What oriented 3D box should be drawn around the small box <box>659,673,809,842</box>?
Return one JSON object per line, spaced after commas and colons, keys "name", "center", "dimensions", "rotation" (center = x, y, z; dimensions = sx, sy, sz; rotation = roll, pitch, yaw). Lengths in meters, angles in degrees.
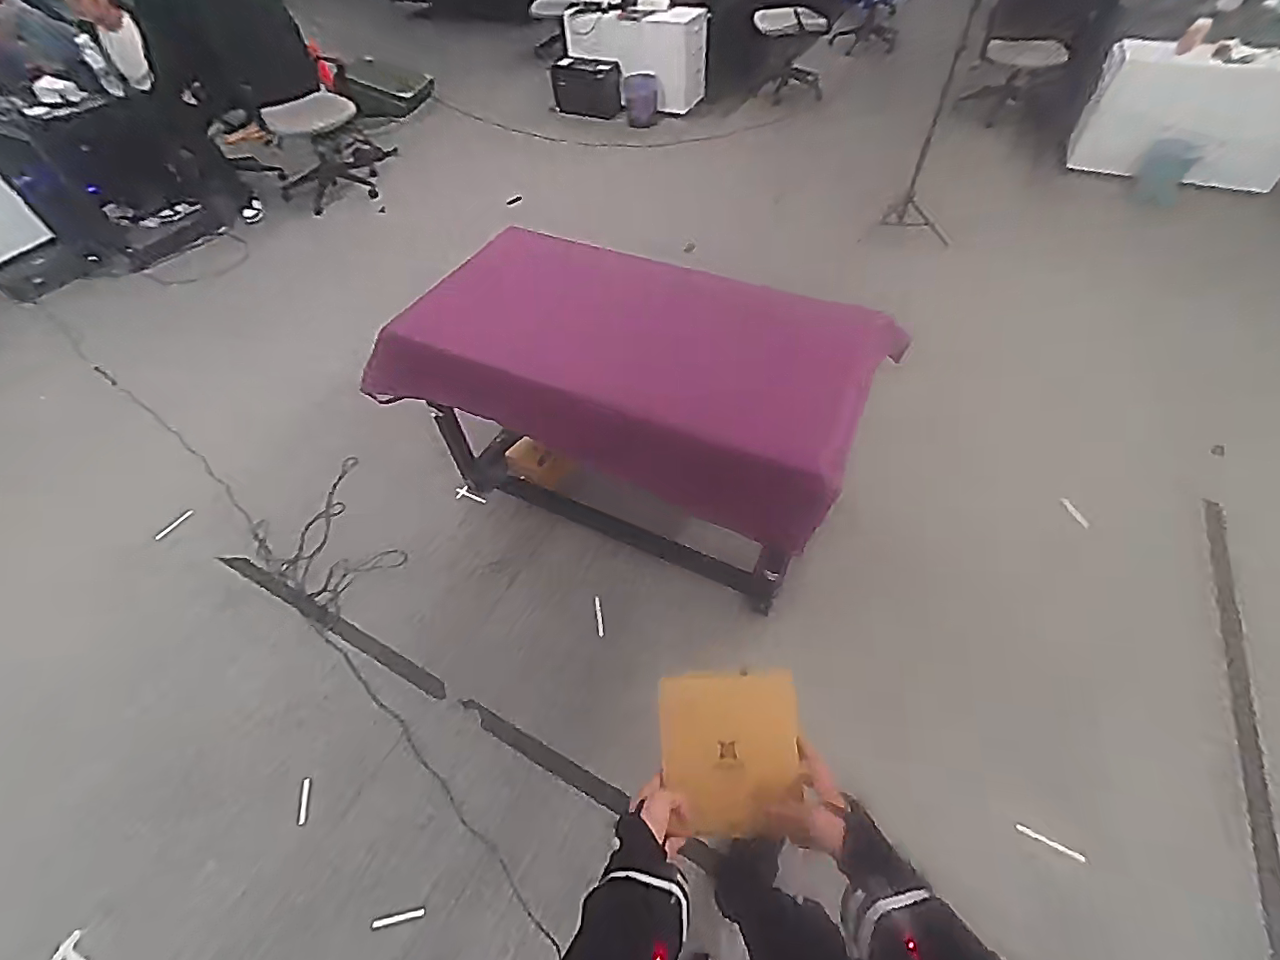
{"name": "small box", "center": [0.126, 0.356, 0.724], "dimensions": [0.168, 0.176, 0.179], "rotation": [-8, 73, 13]}
